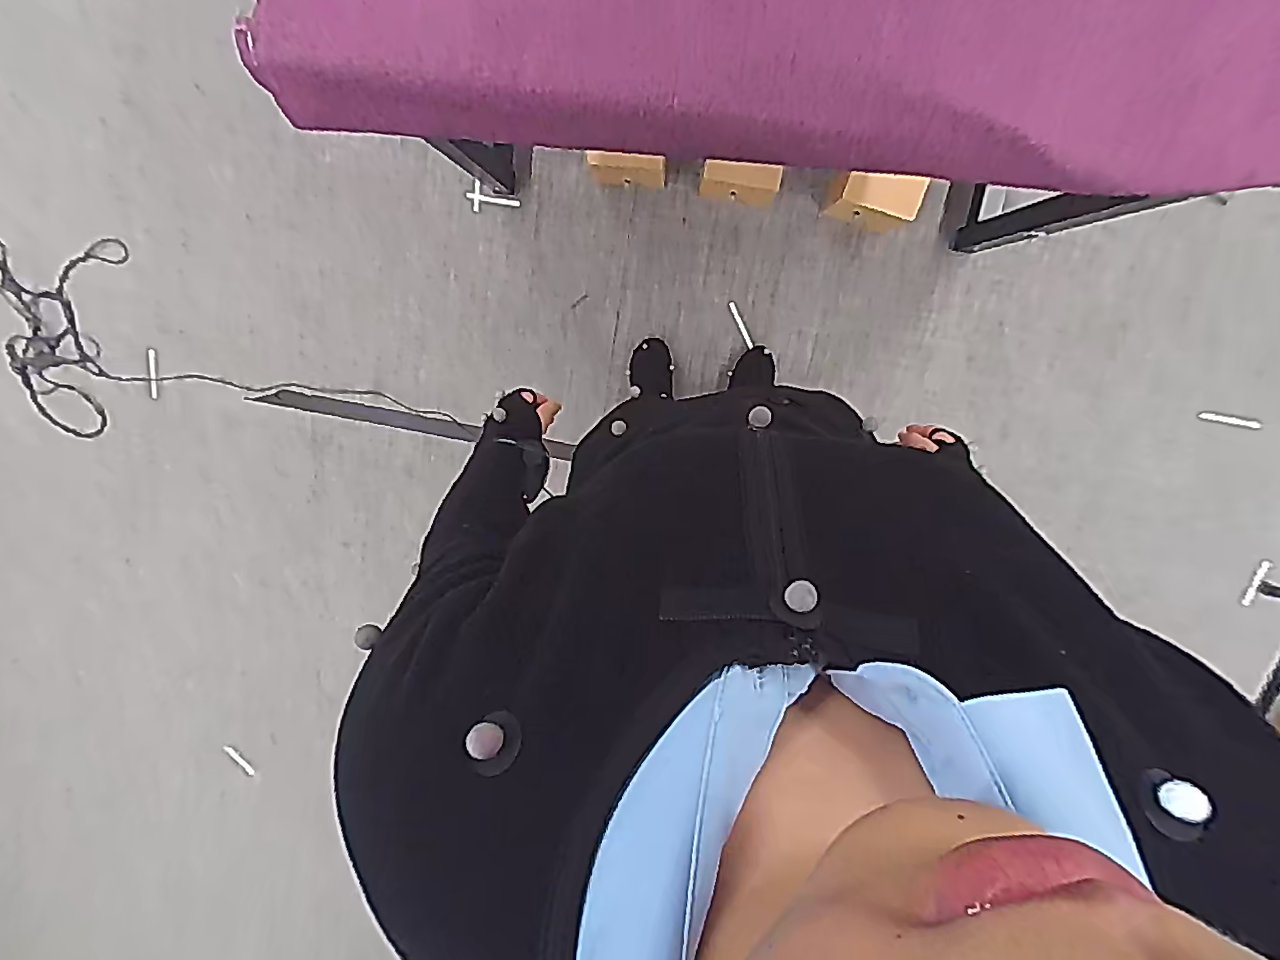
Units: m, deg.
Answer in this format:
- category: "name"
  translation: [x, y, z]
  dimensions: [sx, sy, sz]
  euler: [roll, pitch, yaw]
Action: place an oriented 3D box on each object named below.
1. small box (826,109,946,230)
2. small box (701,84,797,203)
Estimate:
- category: "small box"
  translation: [0.538, -0.683, 1.214]
  dimensions: [0.168, 0.176, 0.179]
  euler: [17, 105, -1]
- category: "small box"
  translation: [0.235, -0.741, 1.212]
  dimensions: [0.168, 0.176, 0.179]
  euler: [10, 106, 0]
